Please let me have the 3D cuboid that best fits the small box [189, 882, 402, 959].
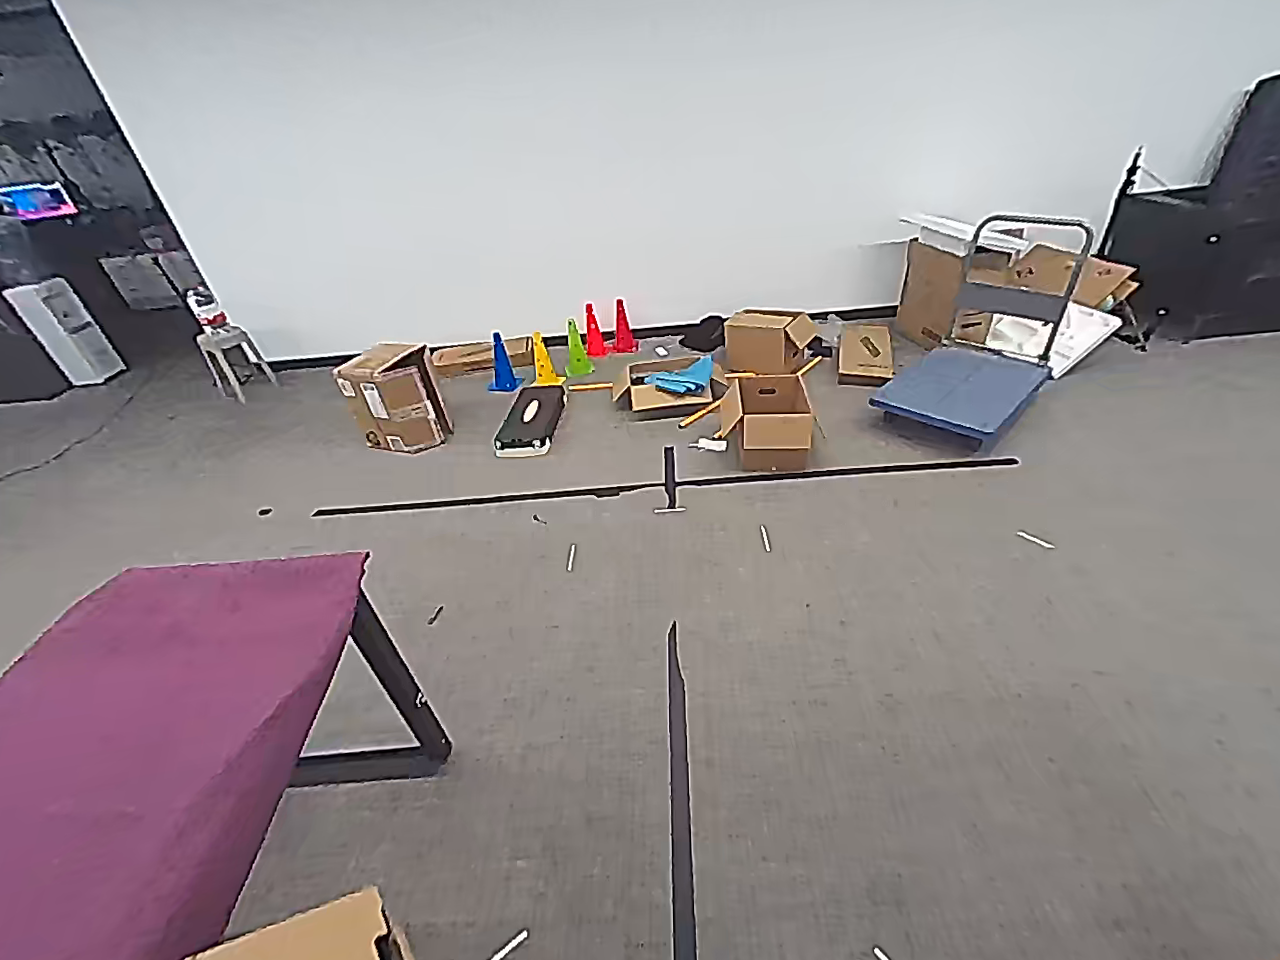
[{"bbox_3d":[-0.350,0.570,0.540,0.179,0.176,0.168,9,15,-44],"label":"small box"}]
